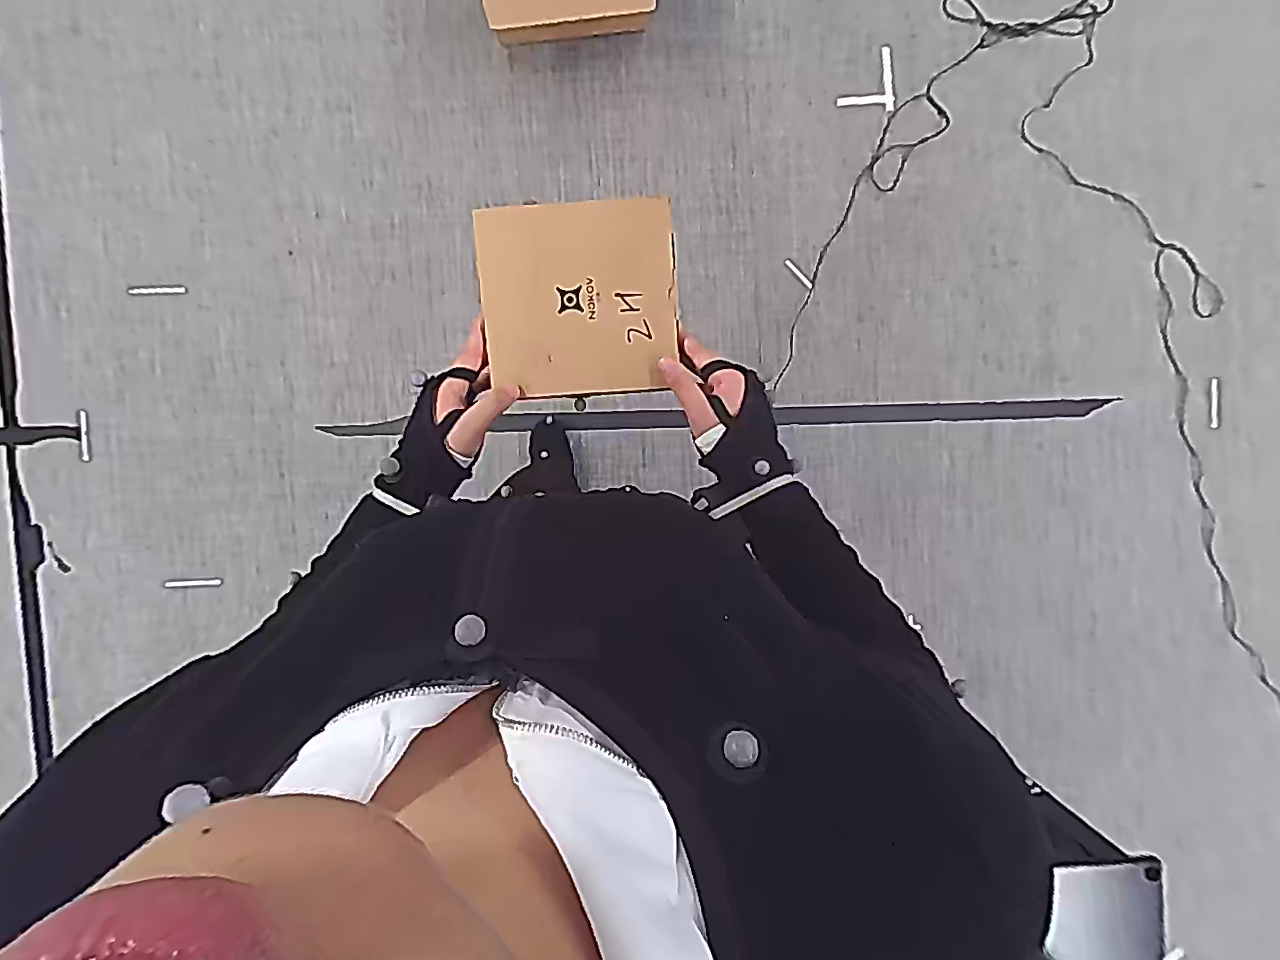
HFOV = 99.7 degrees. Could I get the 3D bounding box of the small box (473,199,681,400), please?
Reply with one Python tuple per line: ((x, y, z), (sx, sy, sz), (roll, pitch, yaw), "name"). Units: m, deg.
((-0.054, -0.168, 0.553), (0.179, 0.176, 0.168), (-4, 99, -1), "small box")
